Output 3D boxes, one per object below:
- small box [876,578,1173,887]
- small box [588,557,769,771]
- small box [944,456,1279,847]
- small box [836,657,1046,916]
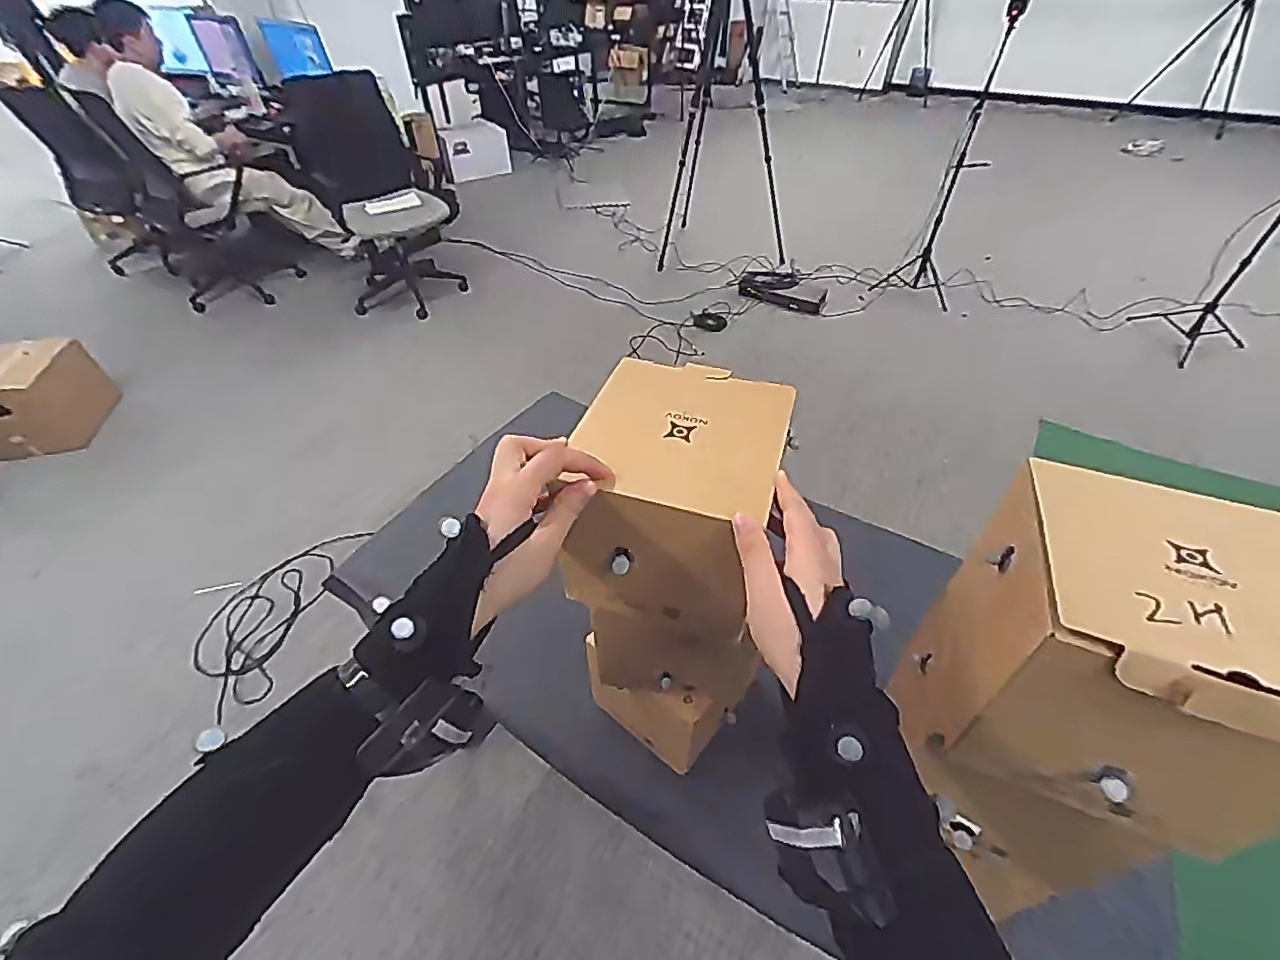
[{"bbox_3d":[0.338,0.231,0.506,0.168,0.176,0.179,18,46,20],"label":"small box"},{"bbox_3d":[0.047,0.245,0.729,0.168,0.176,0.179,30,50,27],"label":"small box"},{"bbox_3d":[0.336,0.114,0.388,0.168,0.176,0.179,16,44,18],"label":"small box"},{"bbox_3d":[0.340,0.348,0.618,0.168,0.176,0.179,22,46,22],"label":"small box"}]
